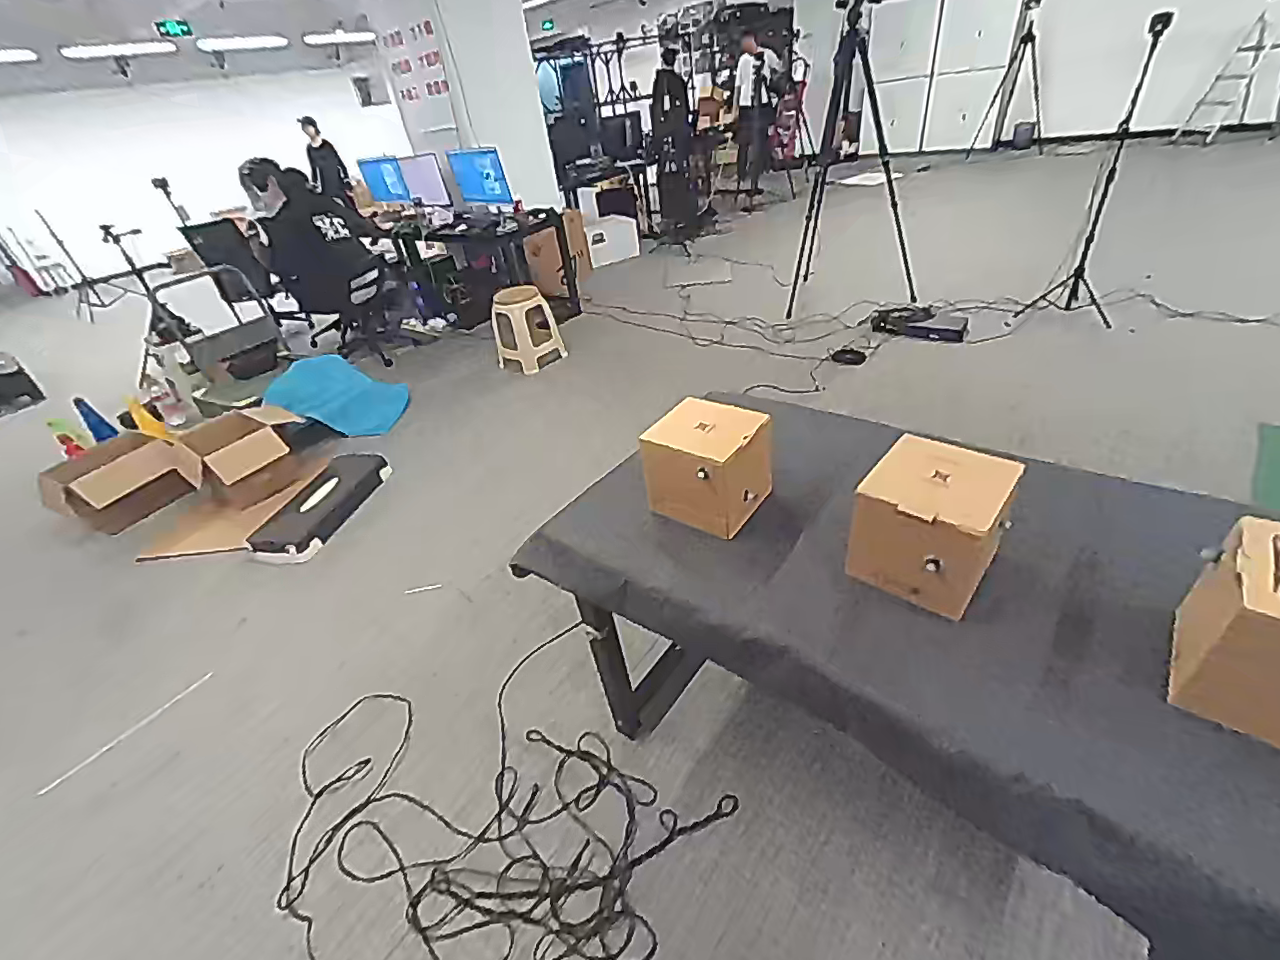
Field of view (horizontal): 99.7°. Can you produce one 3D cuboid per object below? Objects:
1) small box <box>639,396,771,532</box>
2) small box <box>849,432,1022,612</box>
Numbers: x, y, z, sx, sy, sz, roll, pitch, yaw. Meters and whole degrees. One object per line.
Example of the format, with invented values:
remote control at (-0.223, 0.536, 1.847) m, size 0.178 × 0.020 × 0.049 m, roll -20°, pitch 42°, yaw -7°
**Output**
small box at (0.122, -0.031, 0.987) m, size 0.179 × 0.176 × 0.168 m, roll 19°, pitch 44°, yaw 33°
small box at (0.423, 0.059, 0.795) m, size 0.168 × 0.176 × 0.179 m, roll 24°, pitch 46°, yaw 36°
